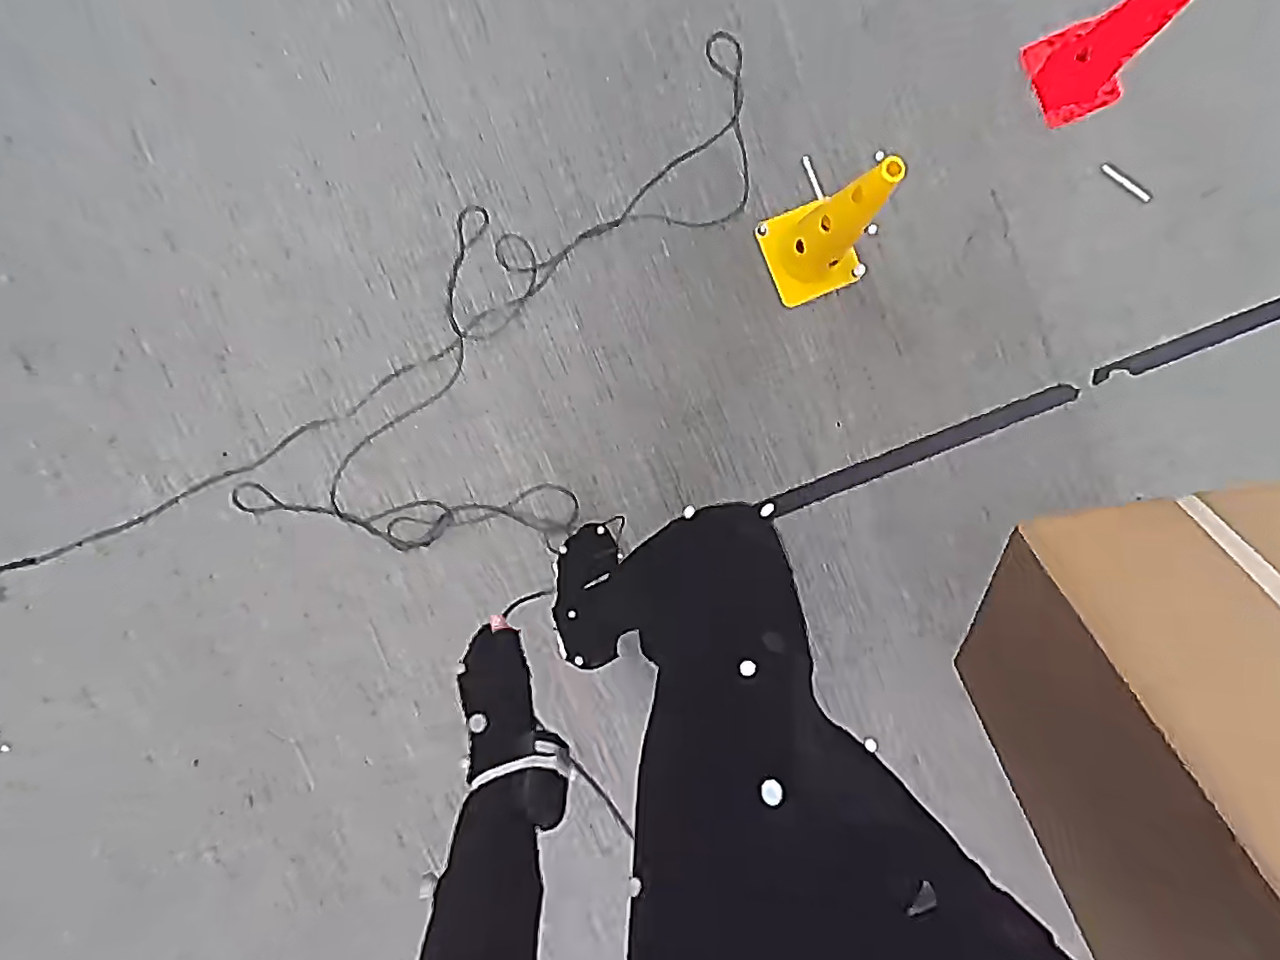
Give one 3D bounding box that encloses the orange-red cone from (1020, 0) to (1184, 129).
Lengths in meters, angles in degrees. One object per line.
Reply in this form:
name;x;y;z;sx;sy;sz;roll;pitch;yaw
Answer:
orange-red cone;1.006;-0.929;1.084;0.199;0.360;0.198;-25;92;-1
